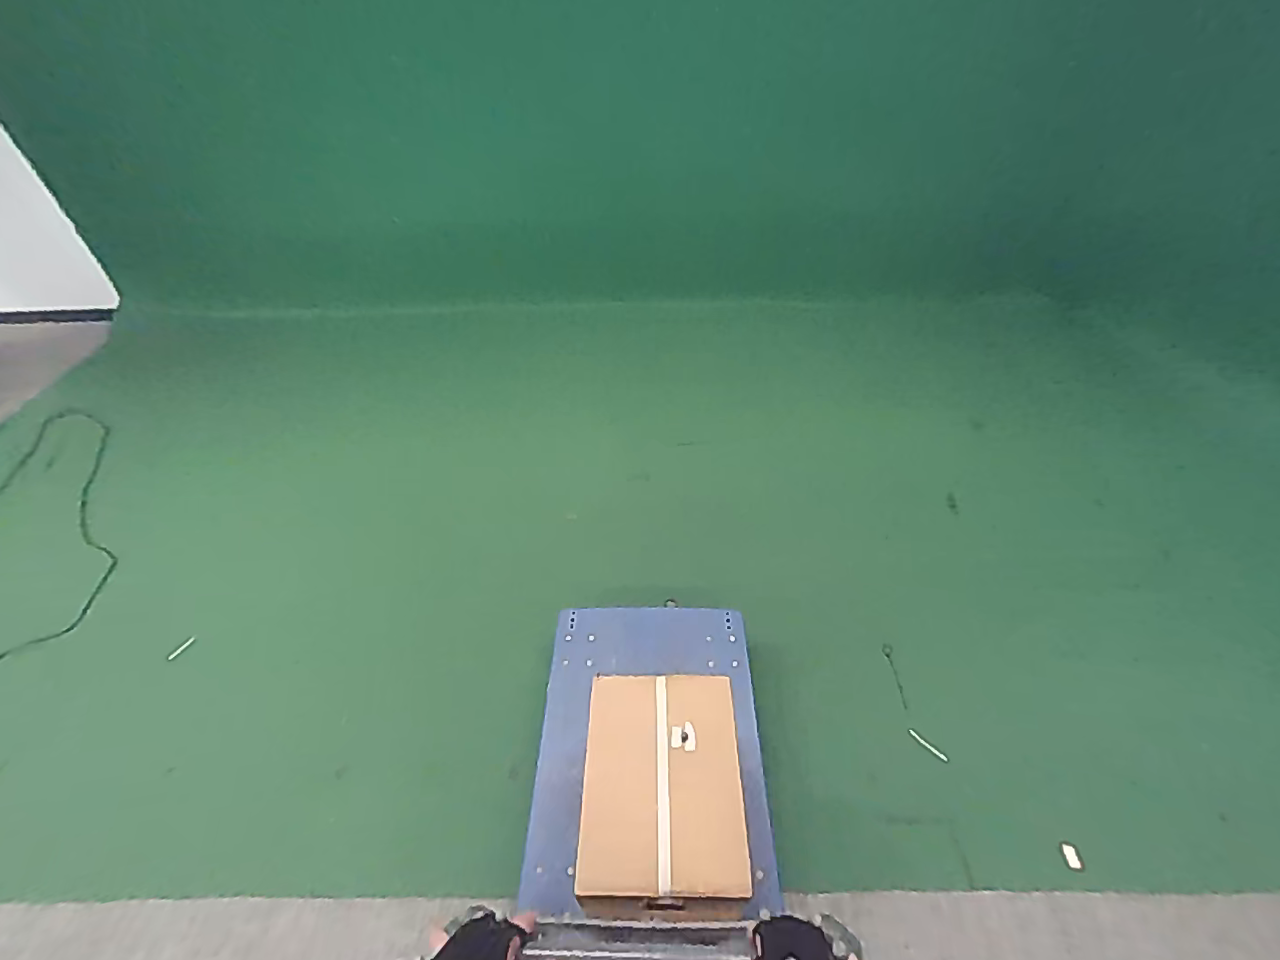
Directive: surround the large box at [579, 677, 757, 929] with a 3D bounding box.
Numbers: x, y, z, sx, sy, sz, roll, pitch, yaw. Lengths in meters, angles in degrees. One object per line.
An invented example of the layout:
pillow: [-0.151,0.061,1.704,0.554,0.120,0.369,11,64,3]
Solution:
large box: [0.053,0.689,1.167,0.320,0.320,0.408,0,43,1]
